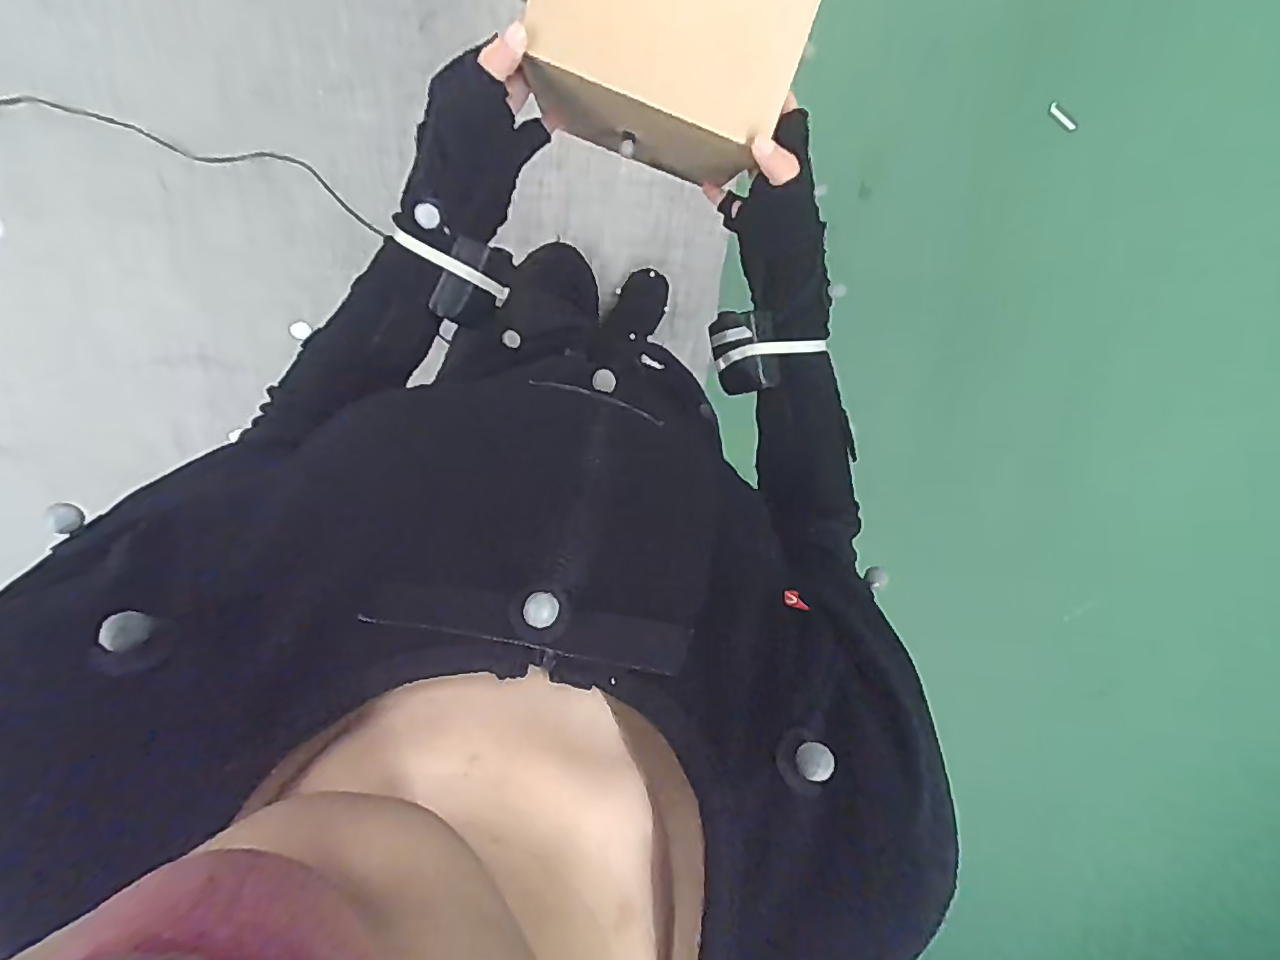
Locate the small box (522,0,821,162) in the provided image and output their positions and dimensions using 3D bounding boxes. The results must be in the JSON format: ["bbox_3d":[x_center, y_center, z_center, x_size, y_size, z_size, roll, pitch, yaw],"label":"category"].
[{"bbox_3d":[0.031,-0.347,0.370,0.168,0.176,0.179,16,109,-11],"label":"small box"}]
